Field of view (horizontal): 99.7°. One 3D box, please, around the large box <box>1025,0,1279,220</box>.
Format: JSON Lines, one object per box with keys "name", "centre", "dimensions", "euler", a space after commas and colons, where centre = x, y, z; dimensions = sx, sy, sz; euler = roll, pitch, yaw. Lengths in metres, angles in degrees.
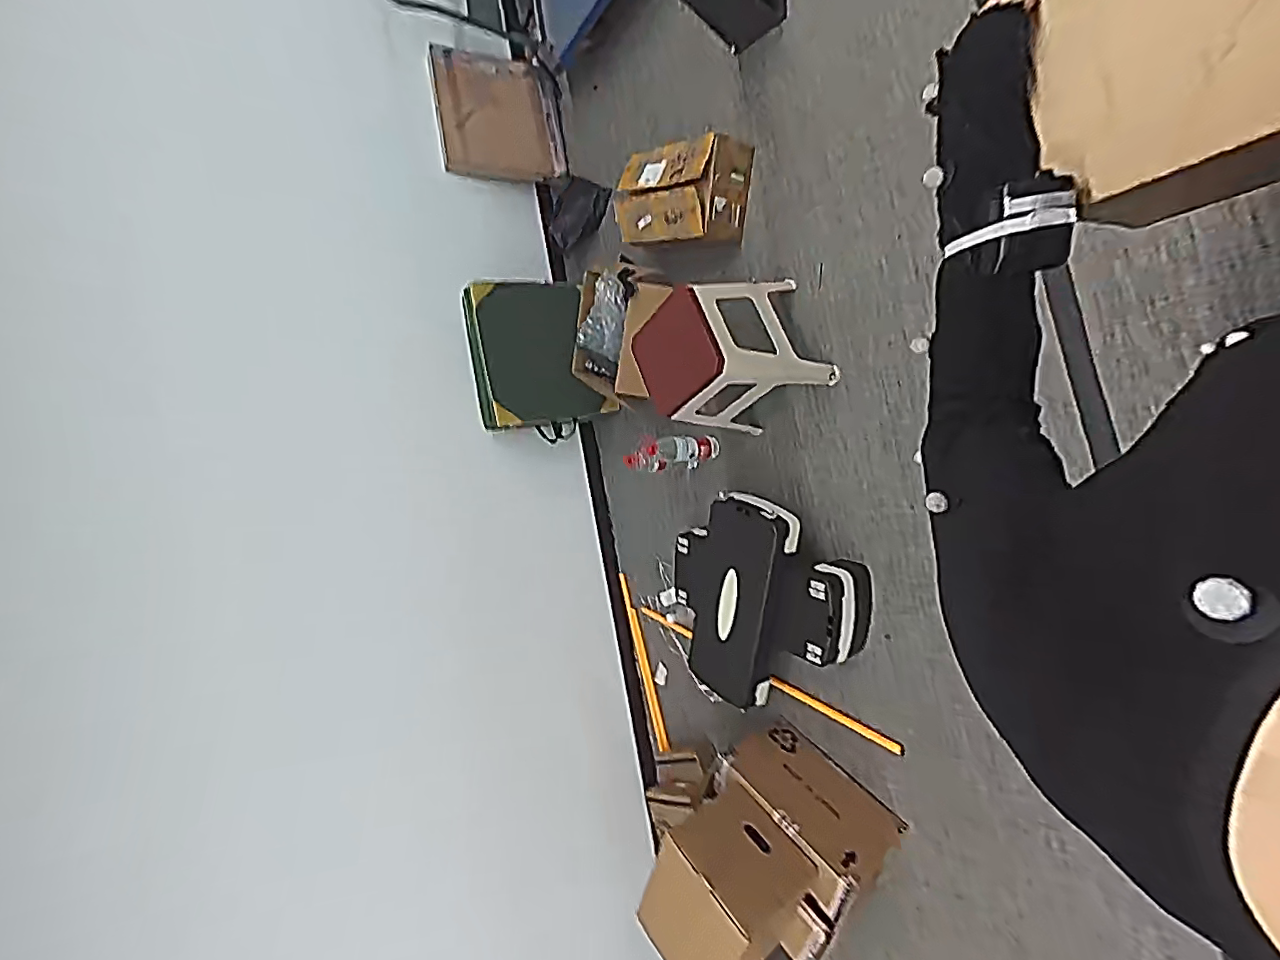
{"name": "large box", "centre": [0.510, -0.407, 0.329], "dimensions": [0.408, 0.320, 0.320], "euler": [-7, 99, 52]}
